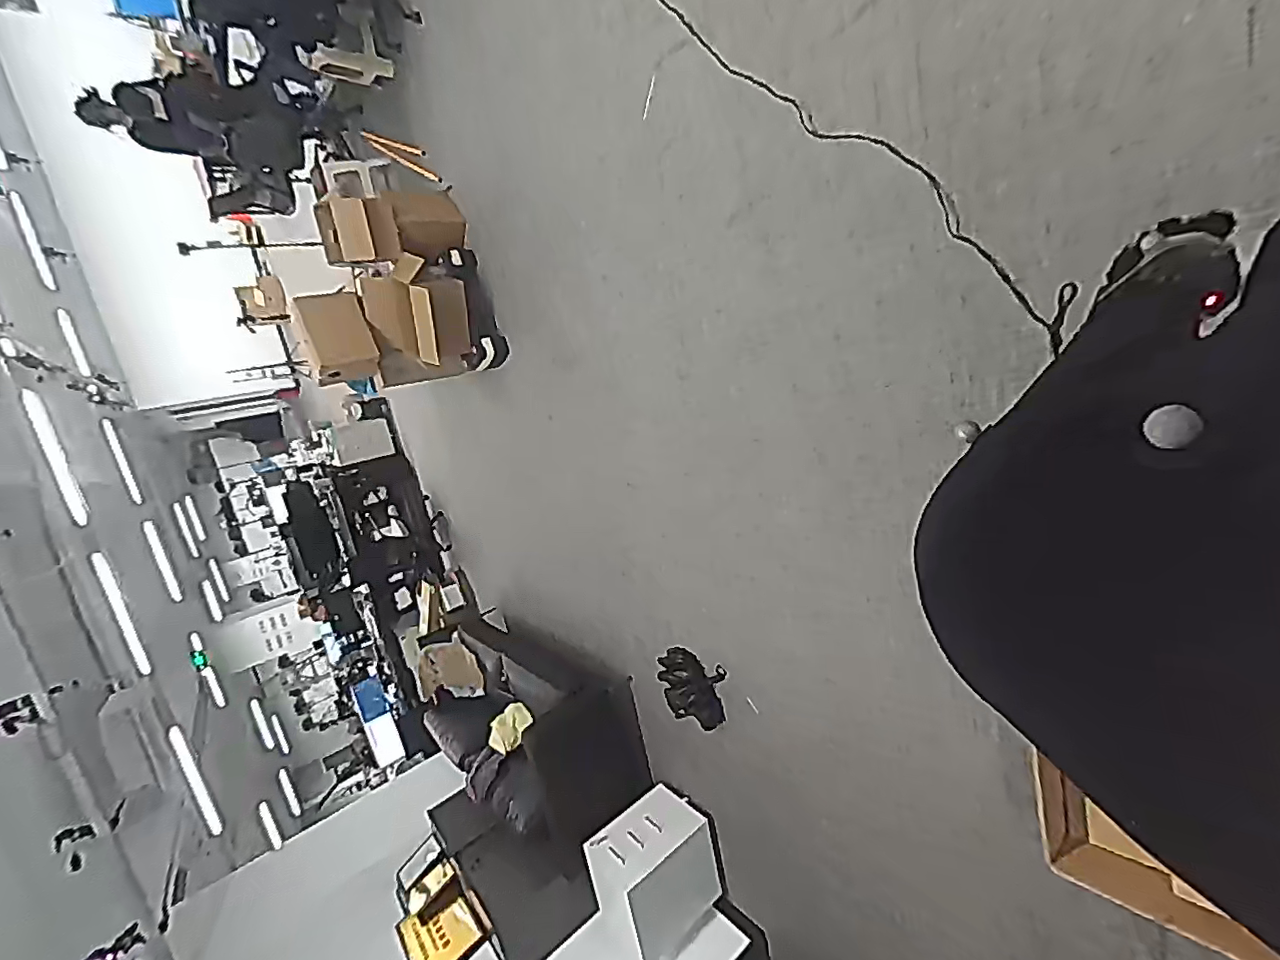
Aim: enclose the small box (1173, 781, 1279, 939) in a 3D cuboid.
[{"bbox_3d":[1.206,0.755,1.089,0.168,0.176,0.179,-1,107,54],"label":"small box"}]
